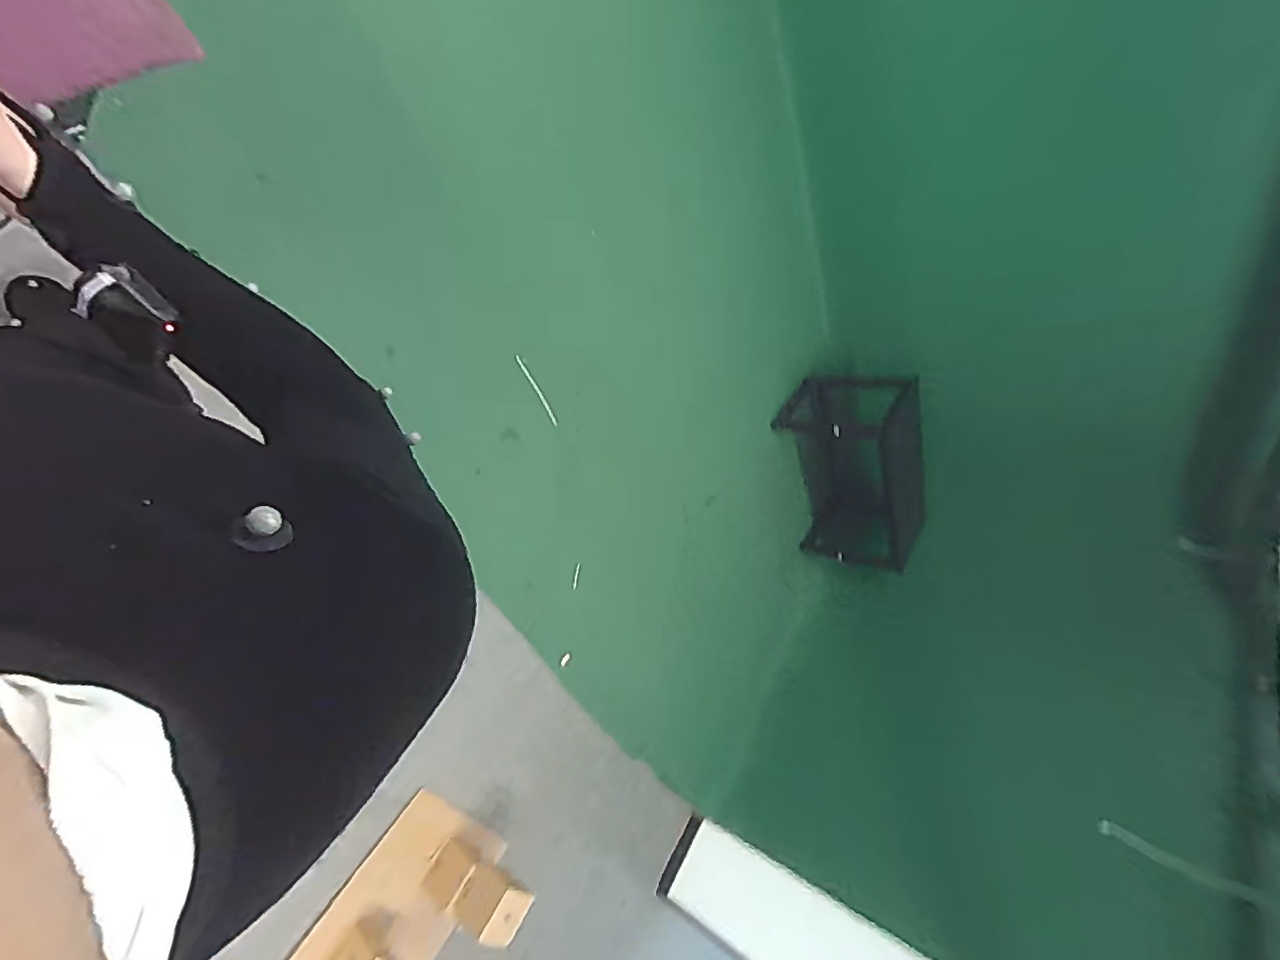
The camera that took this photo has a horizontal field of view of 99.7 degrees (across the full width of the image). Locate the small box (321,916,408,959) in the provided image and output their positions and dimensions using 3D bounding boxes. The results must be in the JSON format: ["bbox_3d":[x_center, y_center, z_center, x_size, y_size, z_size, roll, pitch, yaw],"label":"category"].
[{"bbox_3d":[-0.896,1.559,1.741,0.168,0.176,0.179,-48,132,-31],"label":"small box"}]

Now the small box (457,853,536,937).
[{"bbox_3d":[-0.510,1.466,1.915,0.168,0.176,0.179,-54,135,-24],"label":"small box"}]

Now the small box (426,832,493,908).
[{"bbox_3d":[-0.650,1.443,2.003,0.168,0.176,0.179,-56,135,-25],"label":"small box"}]
